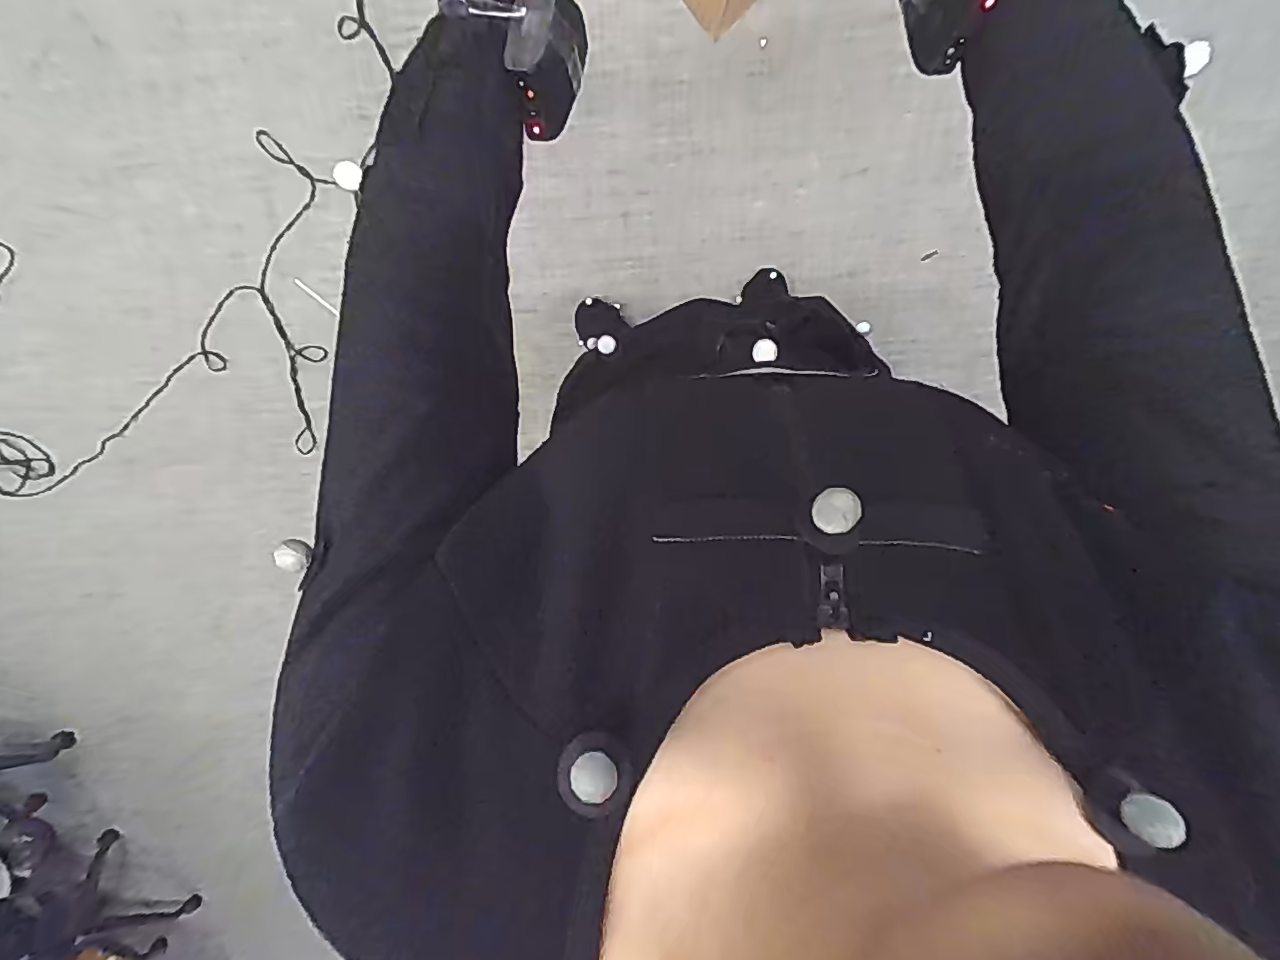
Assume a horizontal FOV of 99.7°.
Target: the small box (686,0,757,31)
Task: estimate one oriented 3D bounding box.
[{"bbox_3d":[0.057,-0.386,0.268,0.179,0.176,0.168,-40,106,18],"label":"small box"}]
